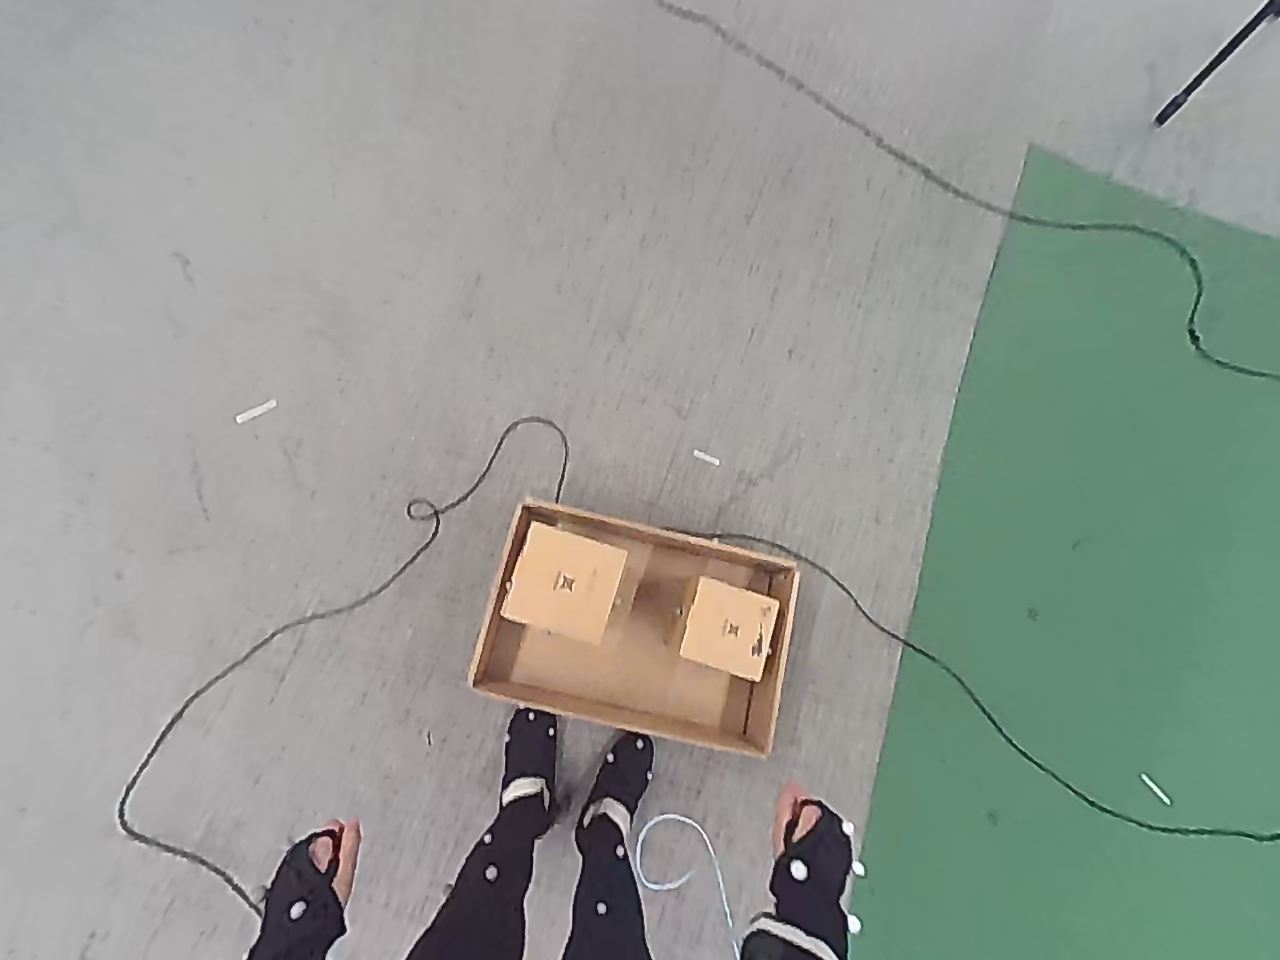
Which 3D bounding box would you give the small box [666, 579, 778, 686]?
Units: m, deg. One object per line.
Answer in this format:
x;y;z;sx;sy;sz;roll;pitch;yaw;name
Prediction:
0.166;0.321;1.155;0.179;0.176;0.168;20;77;-1;small box

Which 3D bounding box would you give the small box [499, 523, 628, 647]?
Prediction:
-0.136;0.190;0.982;0.179;0.176;0.168;19;78;-3;small box
